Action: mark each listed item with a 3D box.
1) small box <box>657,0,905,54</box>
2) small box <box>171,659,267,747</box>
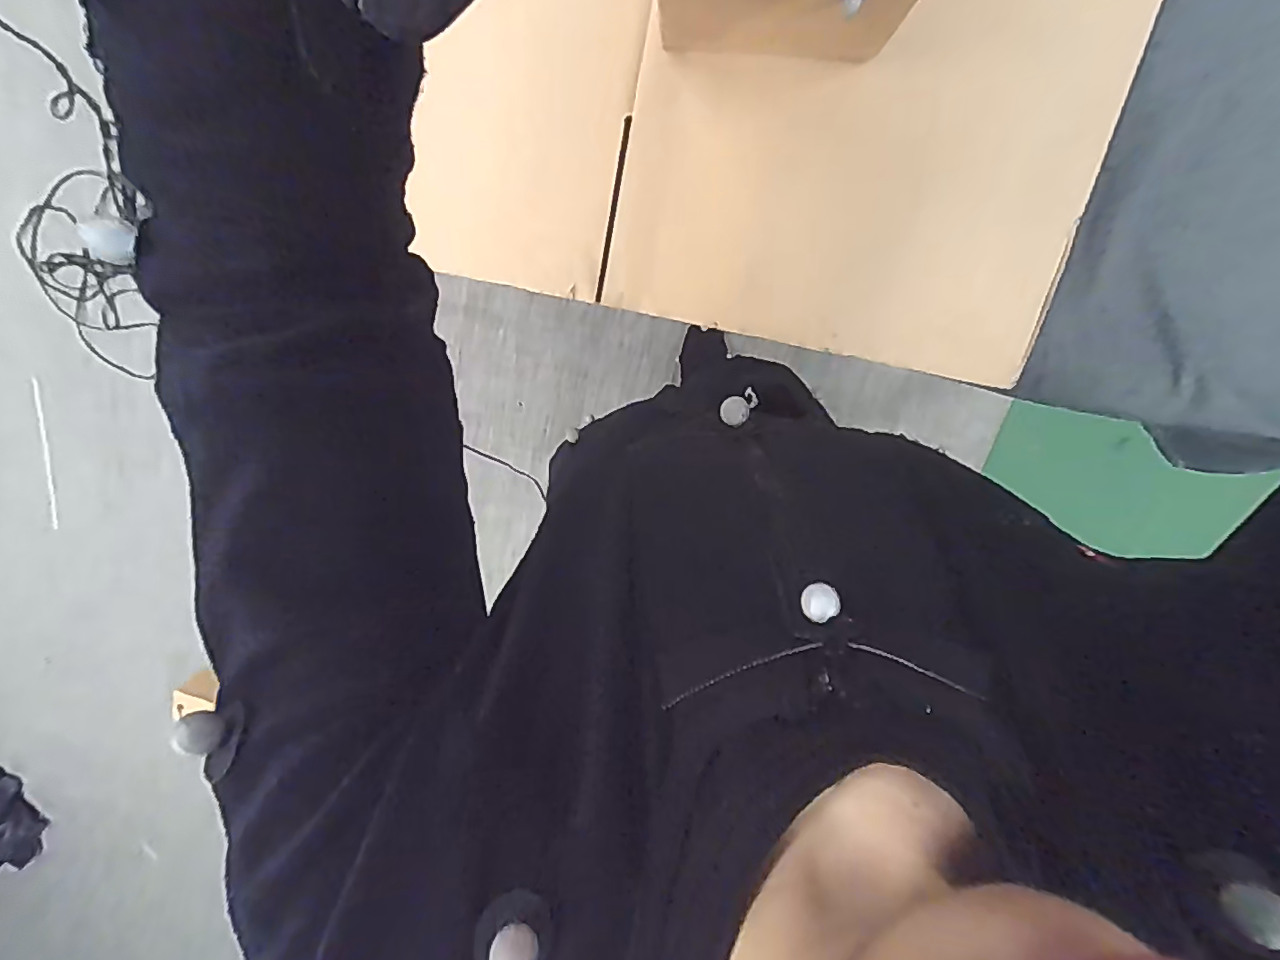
[{"bbox_3d":[0.103,-0.400,0.334,0.179,0.176,0.168,5,104,3],"label":"small box"},{"bbox_3d":[-1.303,0.687,1.681,0.179,0.176,0.168,17,108,-1],"label":"small box"}]
